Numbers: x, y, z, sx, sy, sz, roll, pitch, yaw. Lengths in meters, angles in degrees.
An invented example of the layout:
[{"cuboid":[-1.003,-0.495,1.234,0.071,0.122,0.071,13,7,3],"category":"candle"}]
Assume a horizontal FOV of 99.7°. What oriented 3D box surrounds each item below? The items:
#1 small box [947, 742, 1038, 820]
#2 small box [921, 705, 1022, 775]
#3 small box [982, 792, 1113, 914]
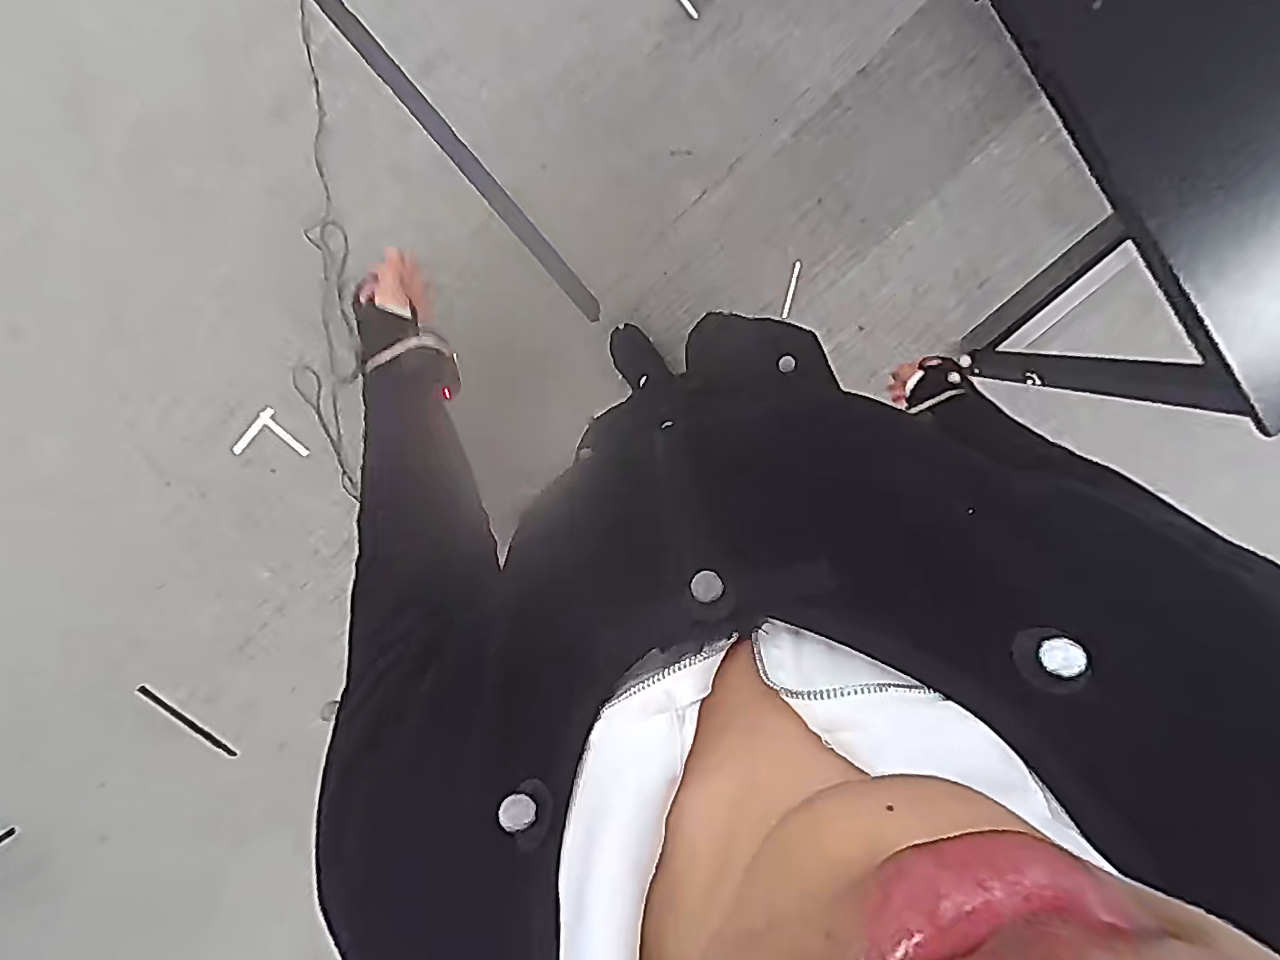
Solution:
[{"cuboid":[1.022,0.888,1.530,0.168,0.176,0.179,-41,101,10],"category":"small box"},{"cuboid":[1.027,0.846,1.689,0.179,0.176,0.168,-40,102,10],"category":"small box"},{"cuboid":[1.023,0.935,1.375,0.168,0.176,0.179,-41,103,11],"category":"small box"}]
